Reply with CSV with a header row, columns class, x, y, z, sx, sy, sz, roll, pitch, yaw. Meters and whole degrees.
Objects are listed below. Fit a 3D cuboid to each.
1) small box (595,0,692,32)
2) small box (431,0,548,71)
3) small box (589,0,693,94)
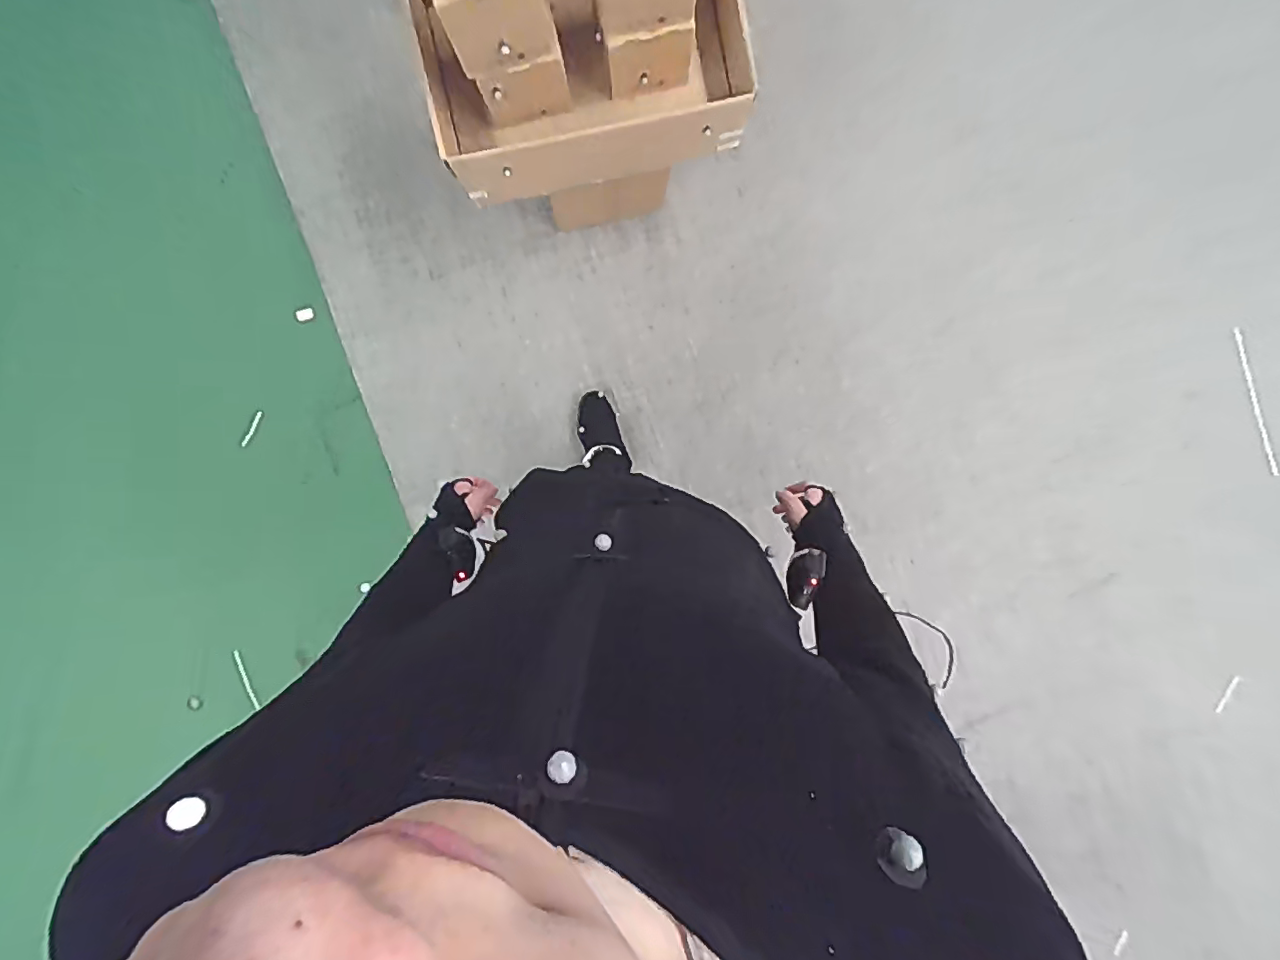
class,x,y,z,sx,sy,sz,roll,pitch,yaw
small box,-0.003,-0.885,0.874,0.168,0.176,0.179,-11,97,0
small box,-0.258,-0.818,0.872,0.168,0.176,0.179,-16,96,0
small box,-0.005,-0.894,1.039,0.168,0.176,0.179,-13,97,0
